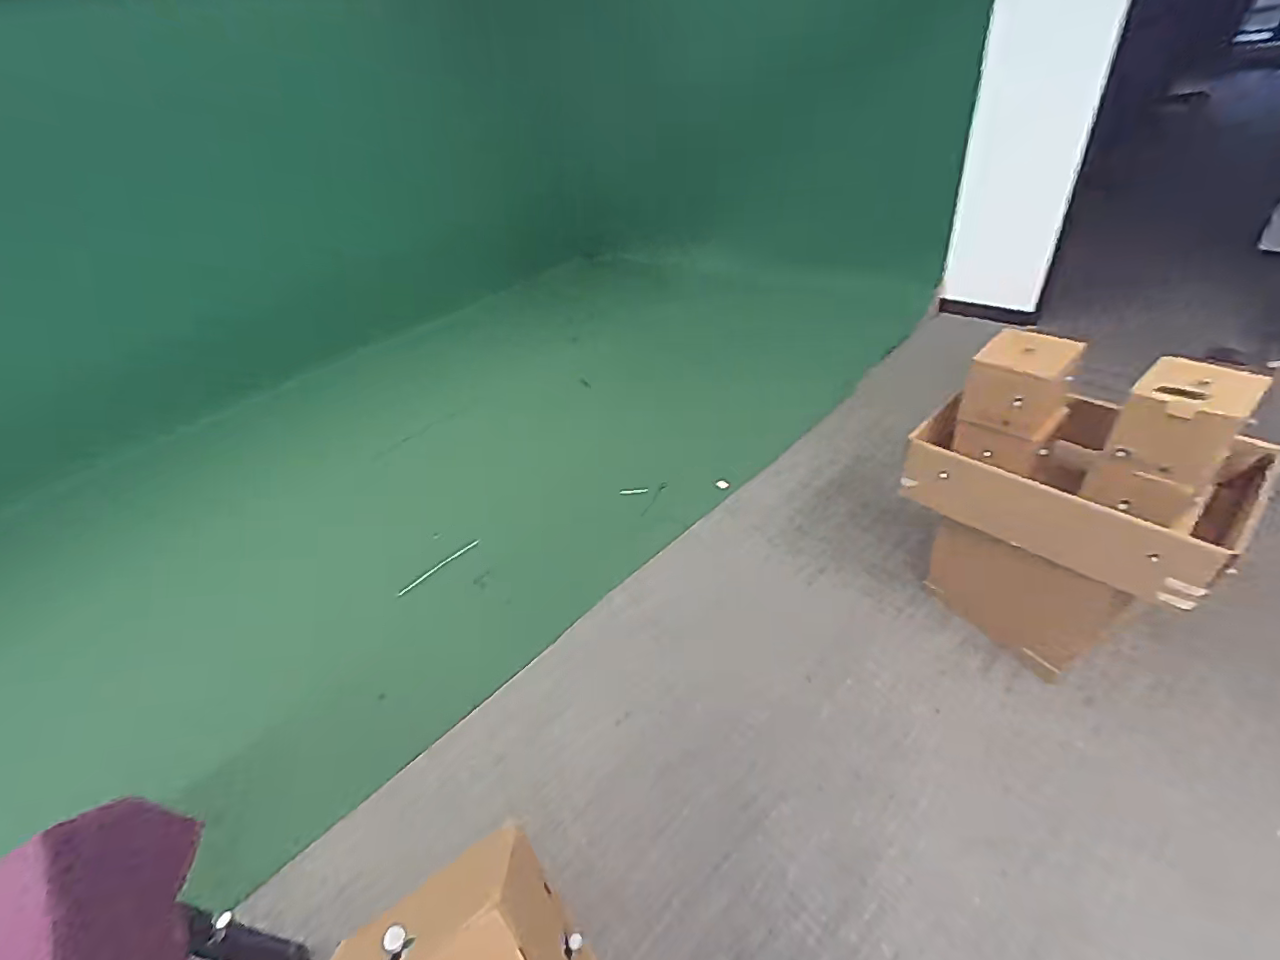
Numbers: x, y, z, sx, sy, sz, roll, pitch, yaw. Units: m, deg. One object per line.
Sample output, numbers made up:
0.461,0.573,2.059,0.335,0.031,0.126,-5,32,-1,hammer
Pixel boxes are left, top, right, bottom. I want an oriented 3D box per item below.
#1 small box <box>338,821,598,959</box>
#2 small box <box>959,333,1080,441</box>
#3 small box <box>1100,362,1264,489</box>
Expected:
-0.131,0.407,0.409,0.179,0.176,0.168,-28,81,-16,small box
0.880,-0.218,1.270,0.179,0.176,0.168,-34,45,-25,small box
1.077,-0.109,1.090,0.179,0.176,0.168,-32,44,-24,small box
